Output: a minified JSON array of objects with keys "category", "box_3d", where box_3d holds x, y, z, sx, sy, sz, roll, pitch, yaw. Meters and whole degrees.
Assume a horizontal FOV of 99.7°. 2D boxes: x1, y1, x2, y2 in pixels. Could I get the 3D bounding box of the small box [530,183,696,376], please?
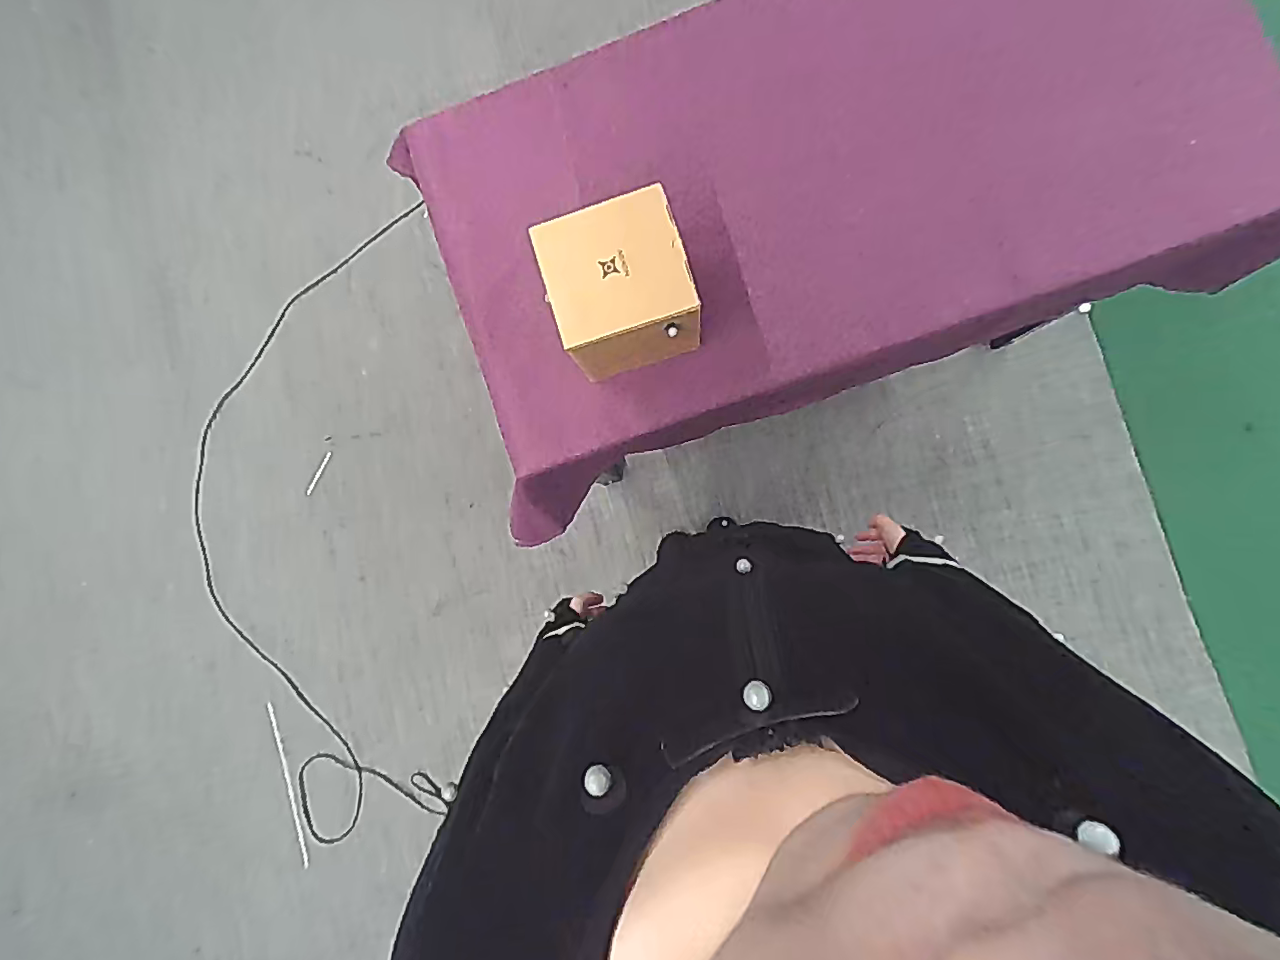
[{"category":"small box","box_3d":[-0.027,-0.259,0.743,0.179,0.176,0.168,-17,85,4]}]
